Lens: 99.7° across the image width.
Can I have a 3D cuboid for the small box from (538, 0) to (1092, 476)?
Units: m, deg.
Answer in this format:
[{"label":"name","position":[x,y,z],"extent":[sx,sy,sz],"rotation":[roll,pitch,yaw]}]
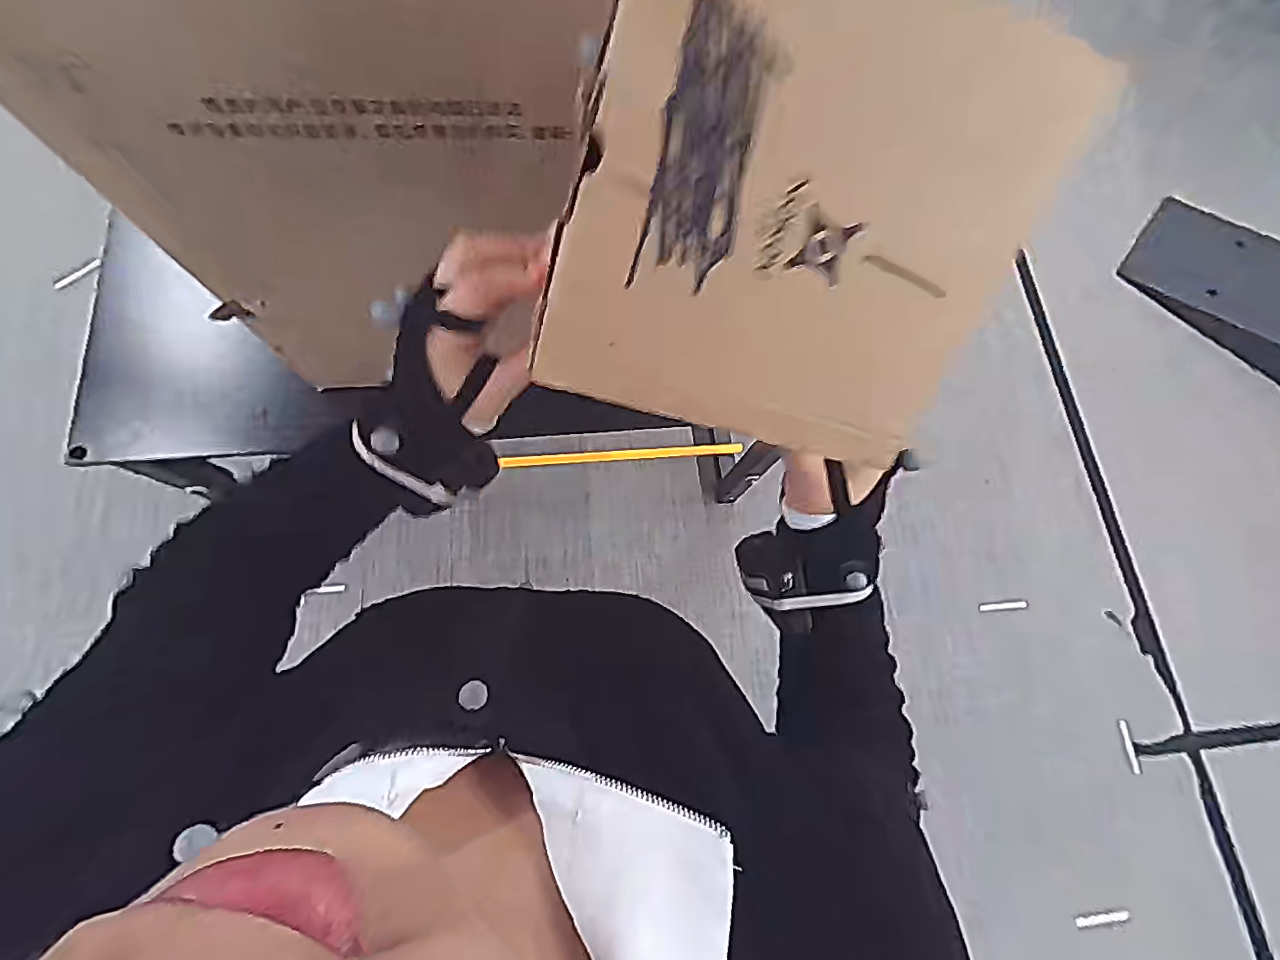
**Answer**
[{"label":"small box","position":[0.055,-0.127,0.285],"extent":[0.179,0.176,0.168],"rotation":[14,115,-13]}]
